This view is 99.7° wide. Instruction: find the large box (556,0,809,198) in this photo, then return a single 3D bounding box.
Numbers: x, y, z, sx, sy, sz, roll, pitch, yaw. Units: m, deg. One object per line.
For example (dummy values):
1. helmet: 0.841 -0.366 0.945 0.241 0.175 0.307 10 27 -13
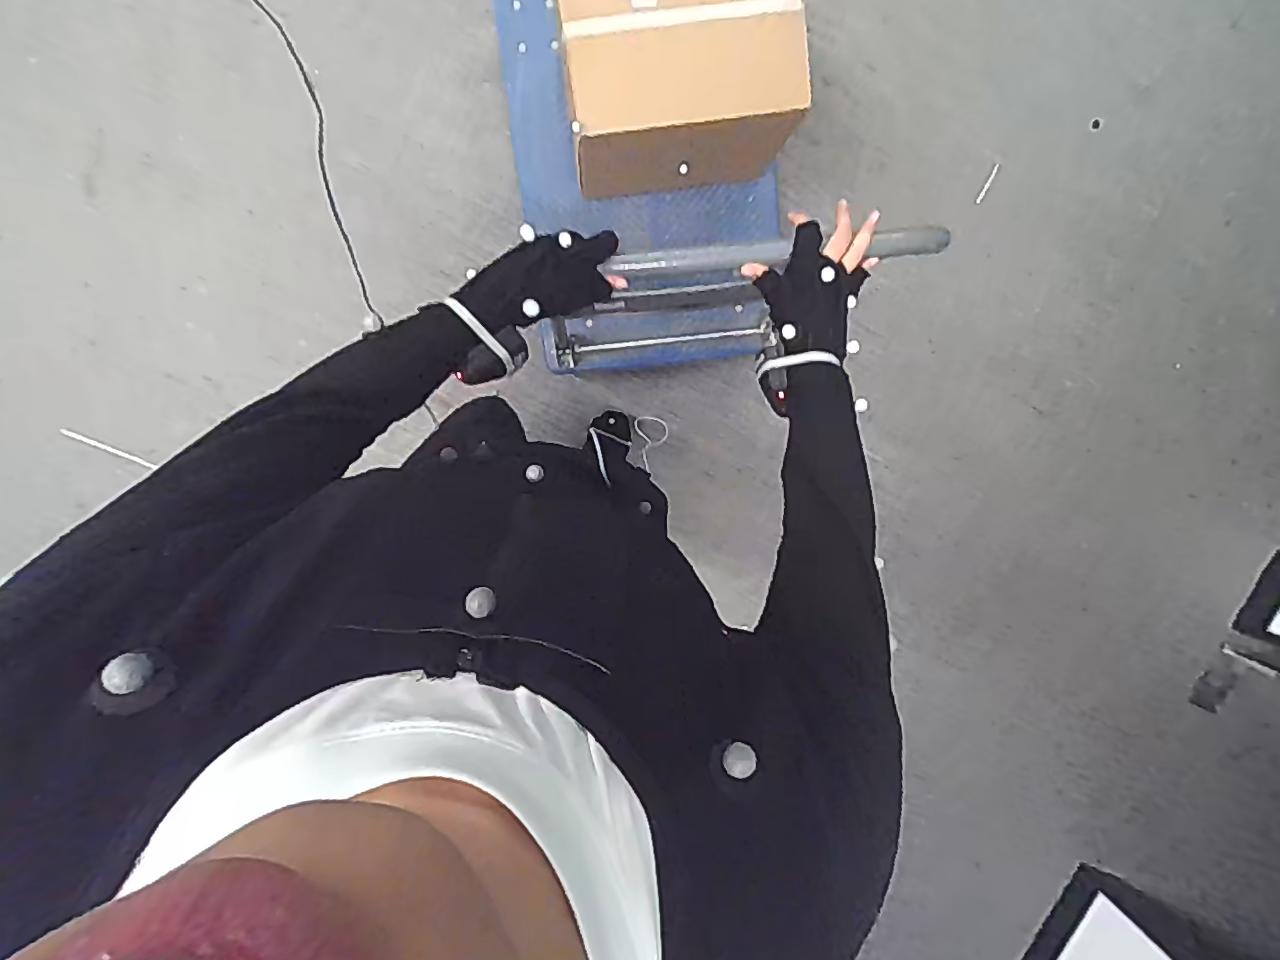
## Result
1. large box: 0.065 -0.785 1.046 0.408 0.320 0.320 -10 99 -3
